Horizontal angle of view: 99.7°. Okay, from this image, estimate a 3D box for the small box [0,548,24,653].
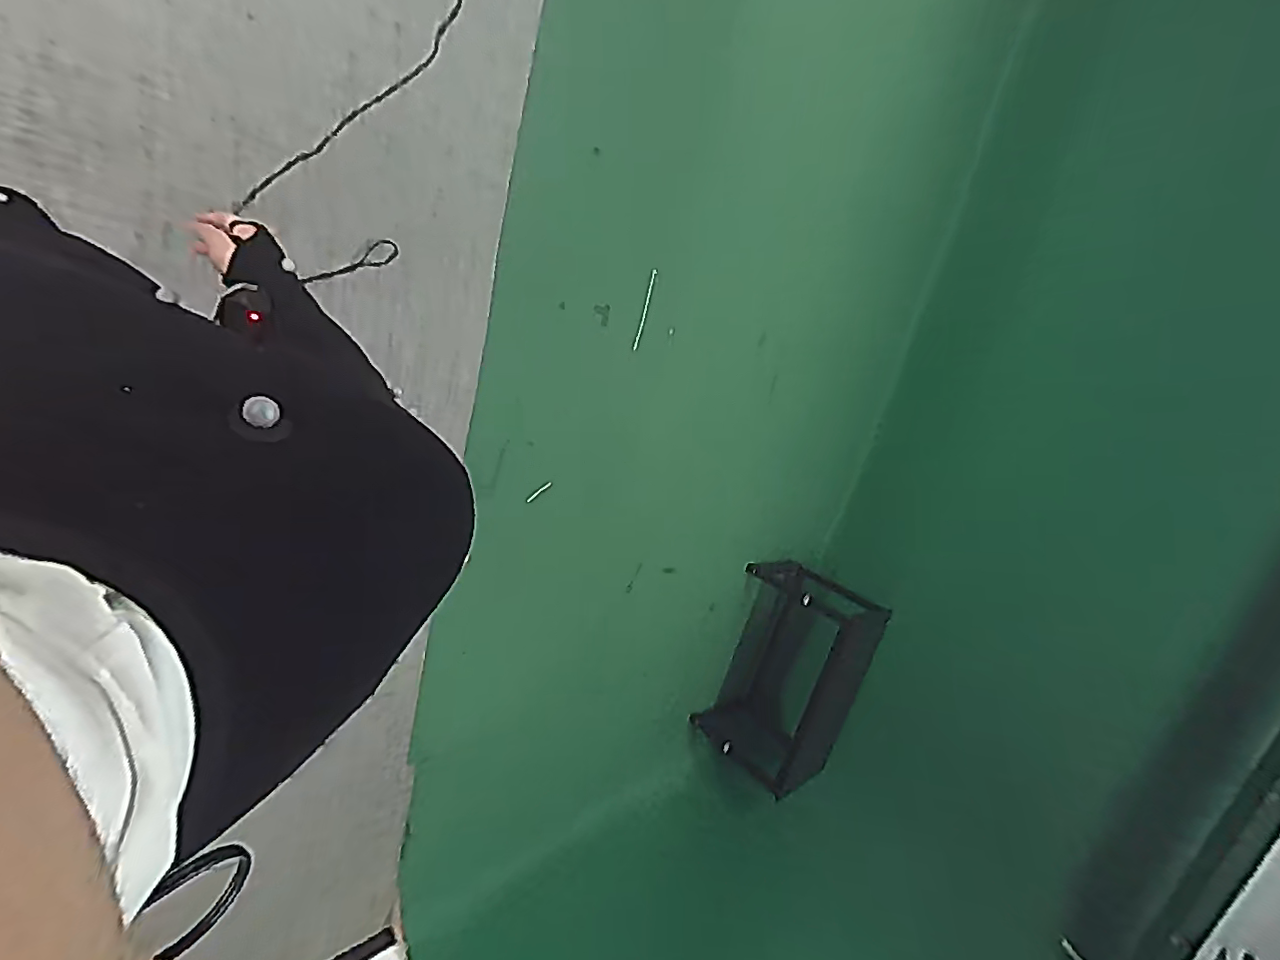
[{"bbox_3d":[-1.379,0.246,1.089,0.179,0.176,0.168,2,109,-46],"label":"small box"}]

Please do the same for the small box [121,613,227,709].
[{"bbox_3d":[-1.195,0.453,1.384,0.179,0.176,0.168,12,102,-48],"label":"small box"}]
